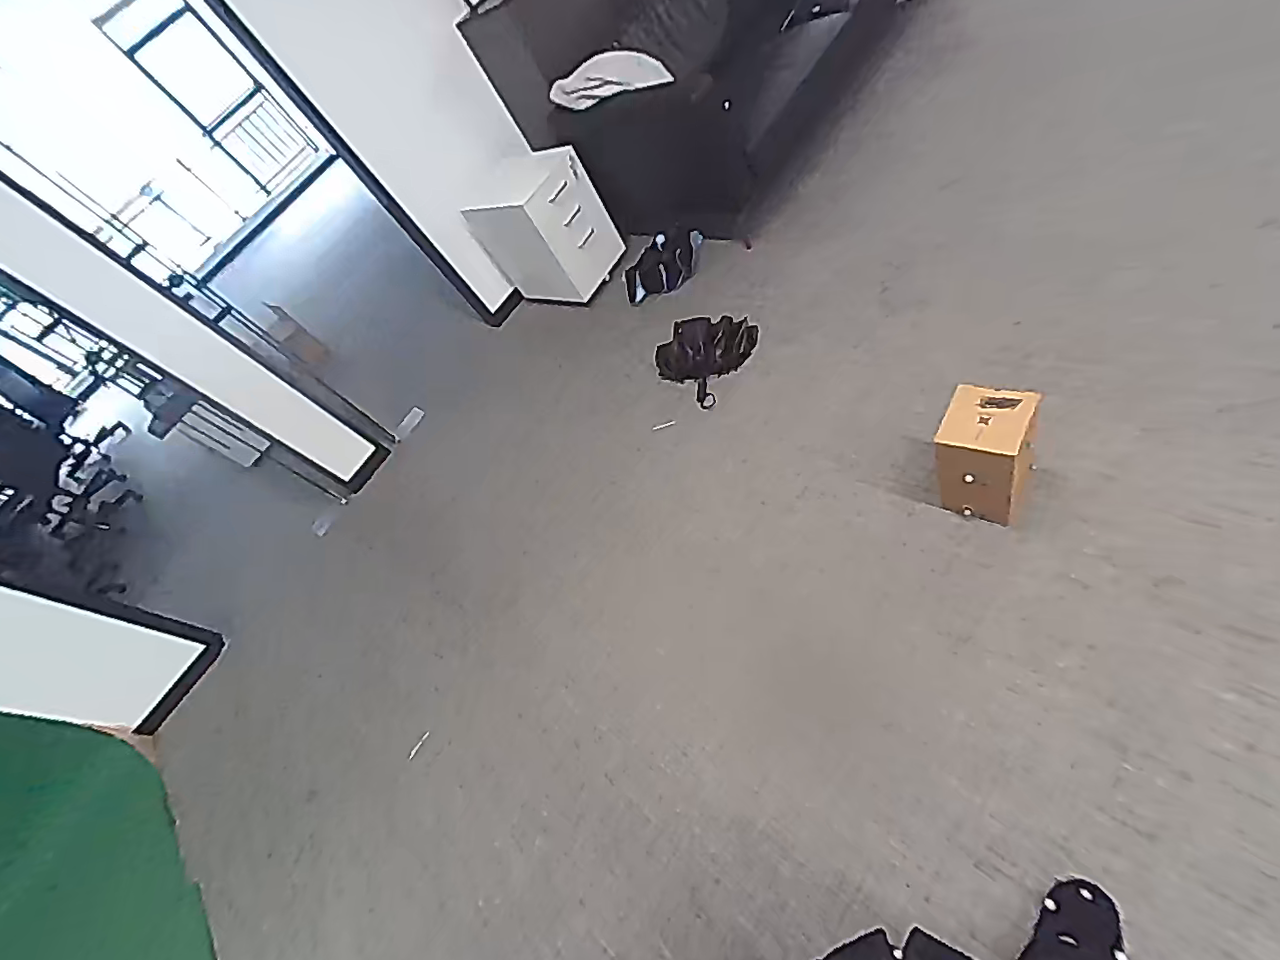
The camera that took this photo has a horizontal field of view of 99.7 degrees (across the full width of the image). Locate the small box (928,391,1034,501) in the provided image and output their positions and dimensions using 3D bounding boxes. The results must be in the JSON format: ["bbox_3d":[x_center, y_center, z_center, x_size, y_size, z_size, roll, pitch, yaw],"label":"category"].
[{"bbox_3d":[0.803,-0.080,1.281,0.168,0.176,0.179,19,70,39],"label":"small box"}]

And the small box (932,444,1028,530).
[{"bbox_3d":[0.878,0.001,1.402,0.168,0.176,0.179,20,71,39],"label":"small box"}]
